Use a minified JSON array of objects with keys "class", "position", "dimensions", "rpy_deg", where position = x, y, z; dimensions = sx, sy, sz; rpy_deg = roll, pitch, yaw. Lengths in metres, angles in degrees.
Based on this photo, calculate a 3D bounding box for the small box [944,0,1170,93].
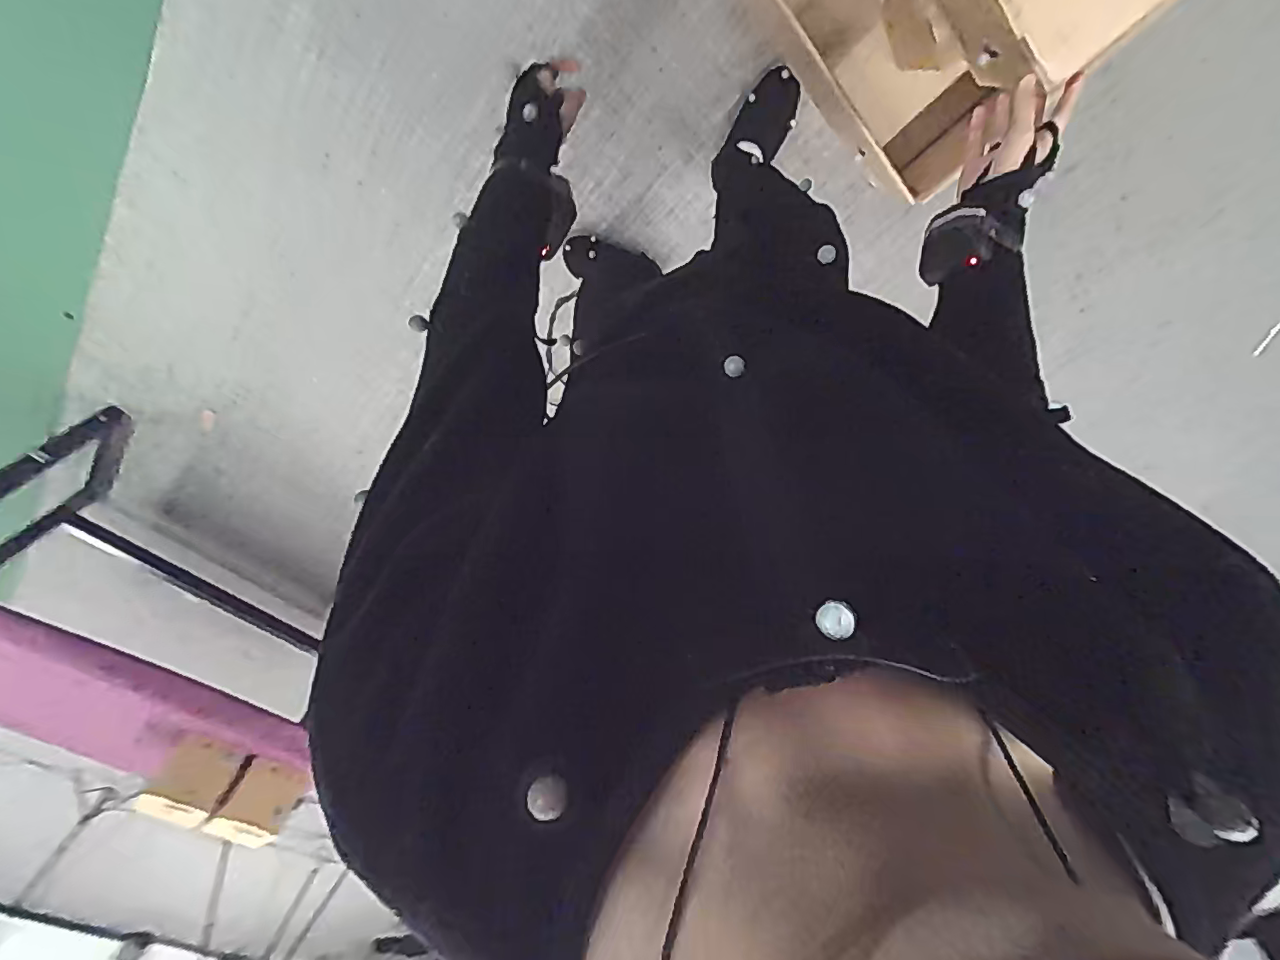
[{"class":"small box","position":[0.396,-0.502,0.496],"dimensions":[0.168,0.176,0.179],"rpy_deg":[40,123,-23]}]

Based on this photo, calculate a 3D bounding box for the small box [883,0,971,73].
[{"class":"small box","position":[0.388,-0.613,0.618],"dimensions":[0.179,0.176,0.168],"rpy_deg":[-26,121,25]}]
